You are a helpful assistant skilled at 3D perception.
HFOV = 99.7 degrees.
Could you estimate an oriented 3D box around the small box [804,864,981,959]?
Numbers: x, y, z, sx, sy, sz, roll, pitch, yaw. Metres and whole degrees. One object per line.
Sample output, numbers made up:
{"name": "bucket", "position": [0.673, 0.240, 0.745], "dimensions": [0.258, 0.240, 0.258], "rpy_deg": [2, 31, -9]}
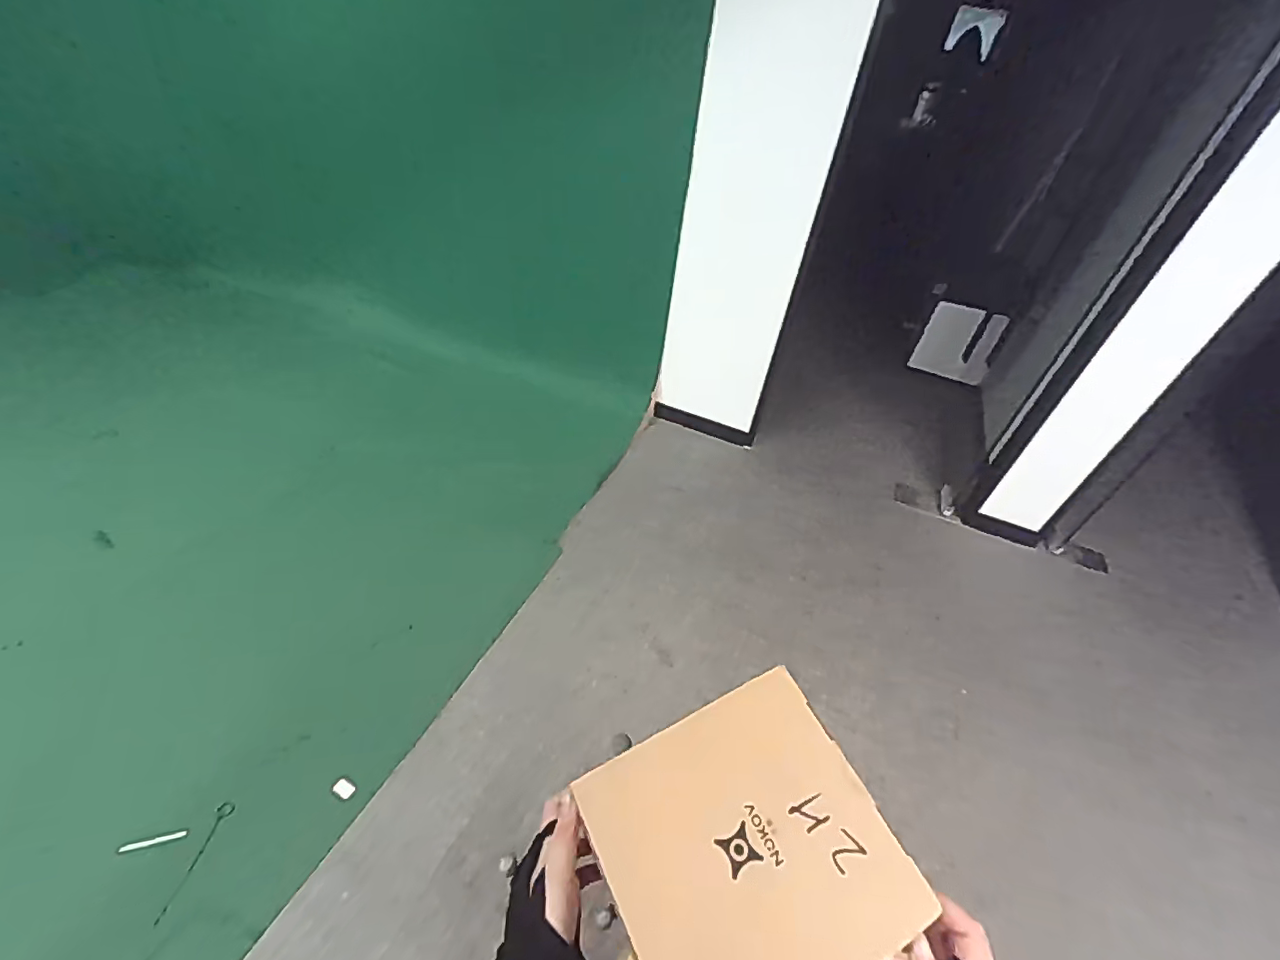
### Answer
{"name": "small box", "position": [0.338, 0.677, 0.742], "dimensions": [0.179, 0.176, 0.168], "rpy_deg": [20, 42, 14]}
